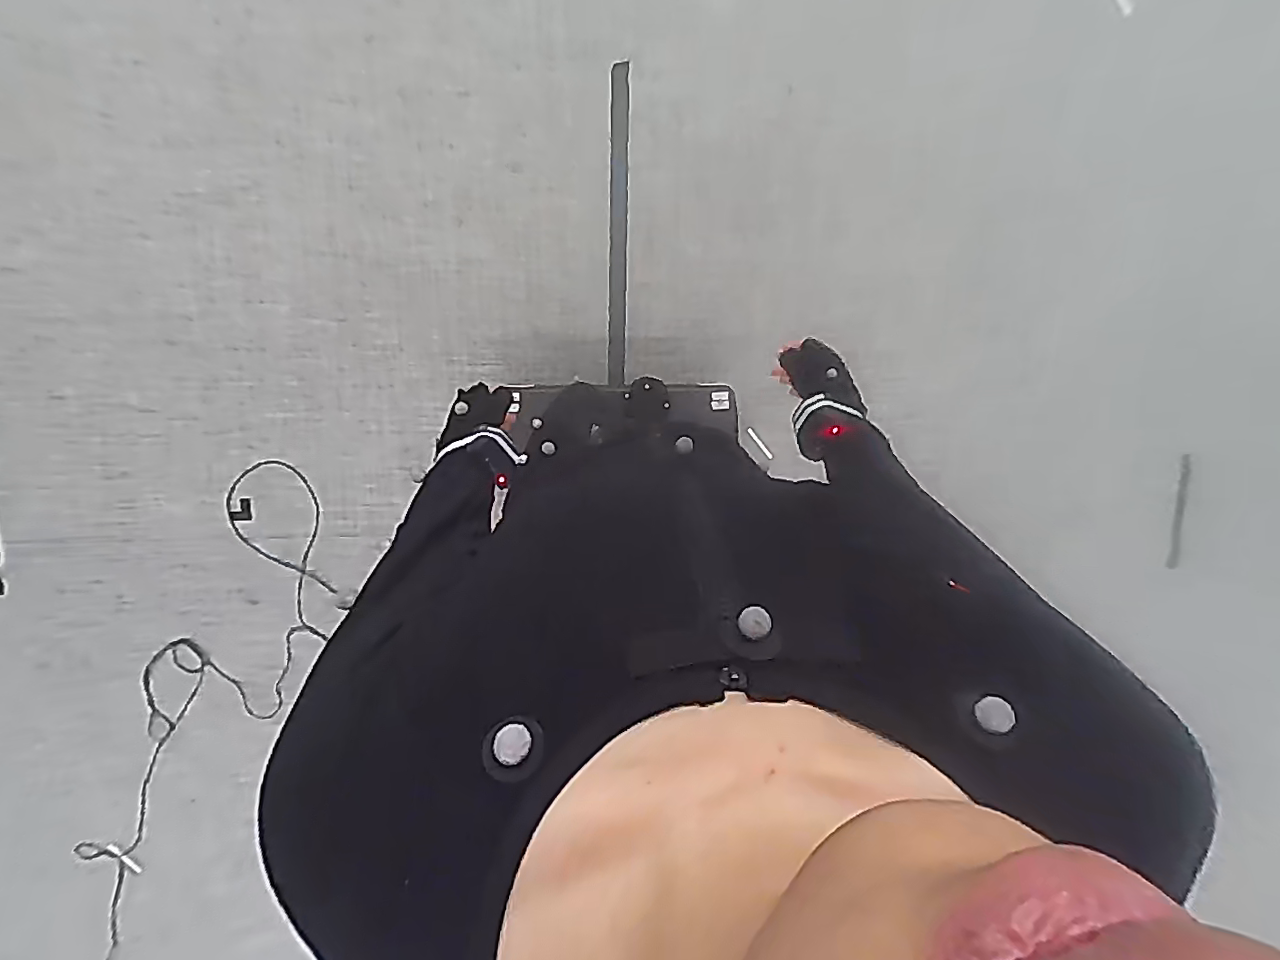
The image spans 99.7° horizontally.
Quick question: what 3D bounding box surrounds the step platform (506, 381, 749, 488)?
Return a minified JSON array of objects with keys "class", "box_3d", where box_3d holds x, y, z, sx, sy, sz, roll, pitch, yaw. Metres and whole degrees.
[{"class":"step platform","box_3d":[-0.035,-0.134,1.552,0.684,0.204,0.286,-2,99,-3]}]
